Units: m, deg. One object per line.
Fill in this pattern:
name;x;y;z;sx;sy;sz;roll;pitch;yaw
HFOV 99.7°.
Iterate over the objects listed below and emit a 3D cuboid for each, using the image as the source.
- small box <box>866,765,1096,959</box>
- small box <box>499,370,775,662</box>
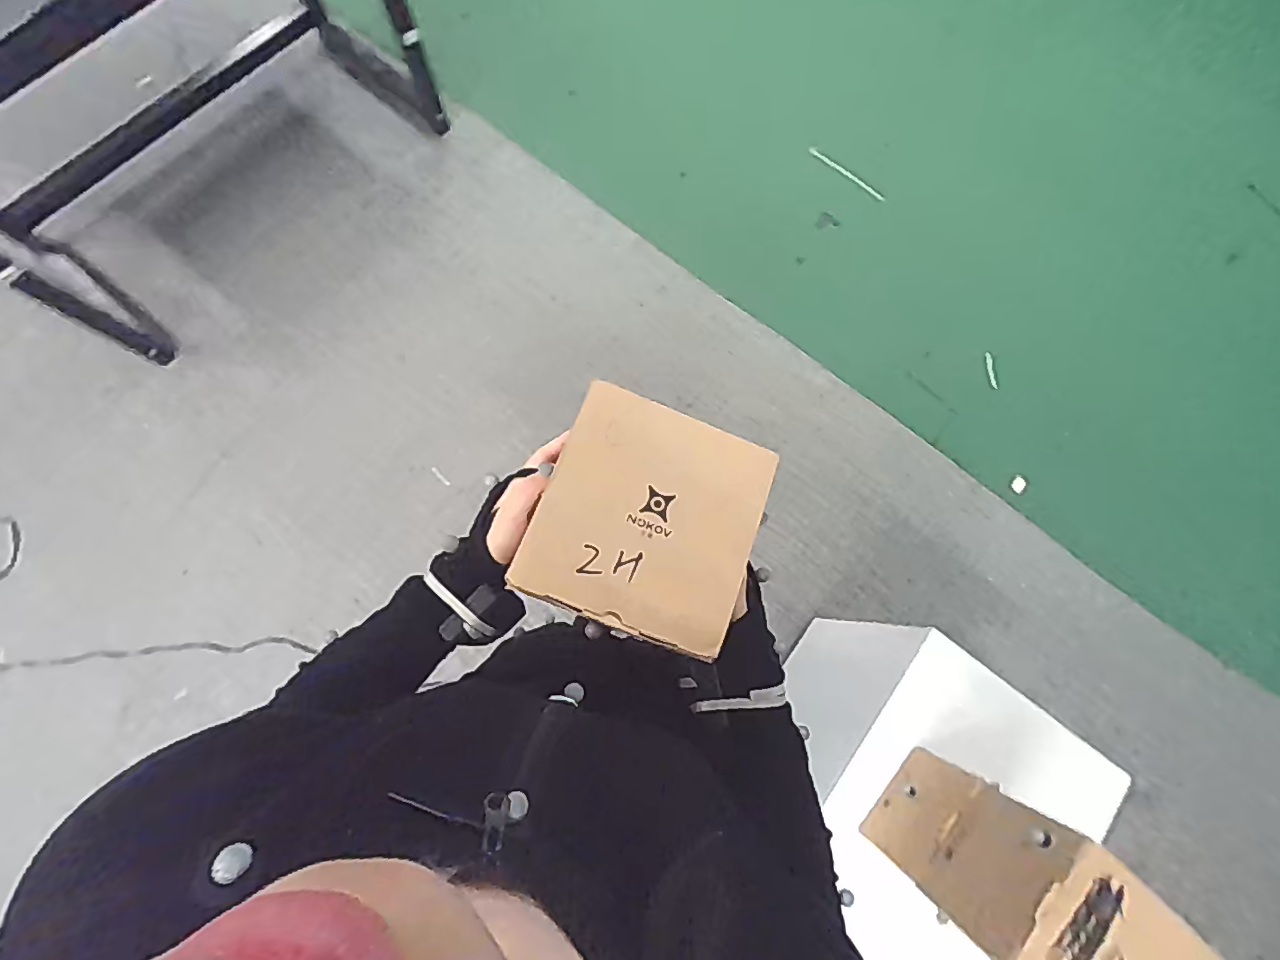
small box;0.464;0.542;0.763;0.179;0.176;0.168;42;77;6
small box;-0.009;0.041;0.473;0.168;0.176;0.179;22;73;-4
